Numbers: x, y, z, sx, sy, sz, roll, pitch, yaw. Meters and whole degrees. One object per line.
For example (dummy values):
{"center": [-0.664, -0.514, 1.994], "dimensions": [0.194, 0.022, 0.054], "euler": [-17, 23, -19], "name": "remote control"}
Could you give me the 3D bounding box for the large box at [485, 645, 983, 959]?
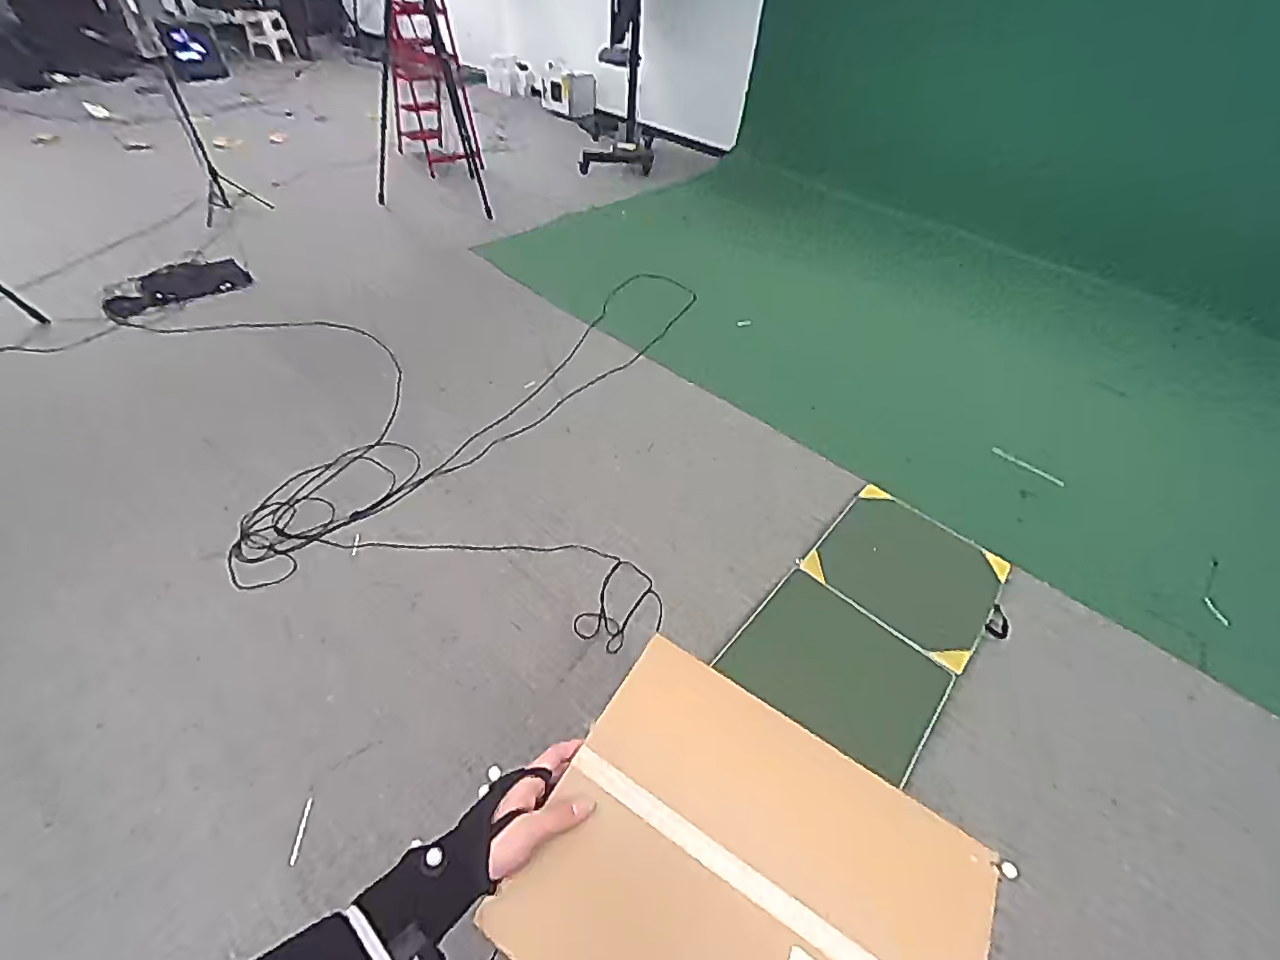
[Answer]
{"center": [0.087, 0.472, 0.627], "dimensions": [0.408, 0.320, 0.320], "euler": [30, 55, 14], "name": "large box"}
